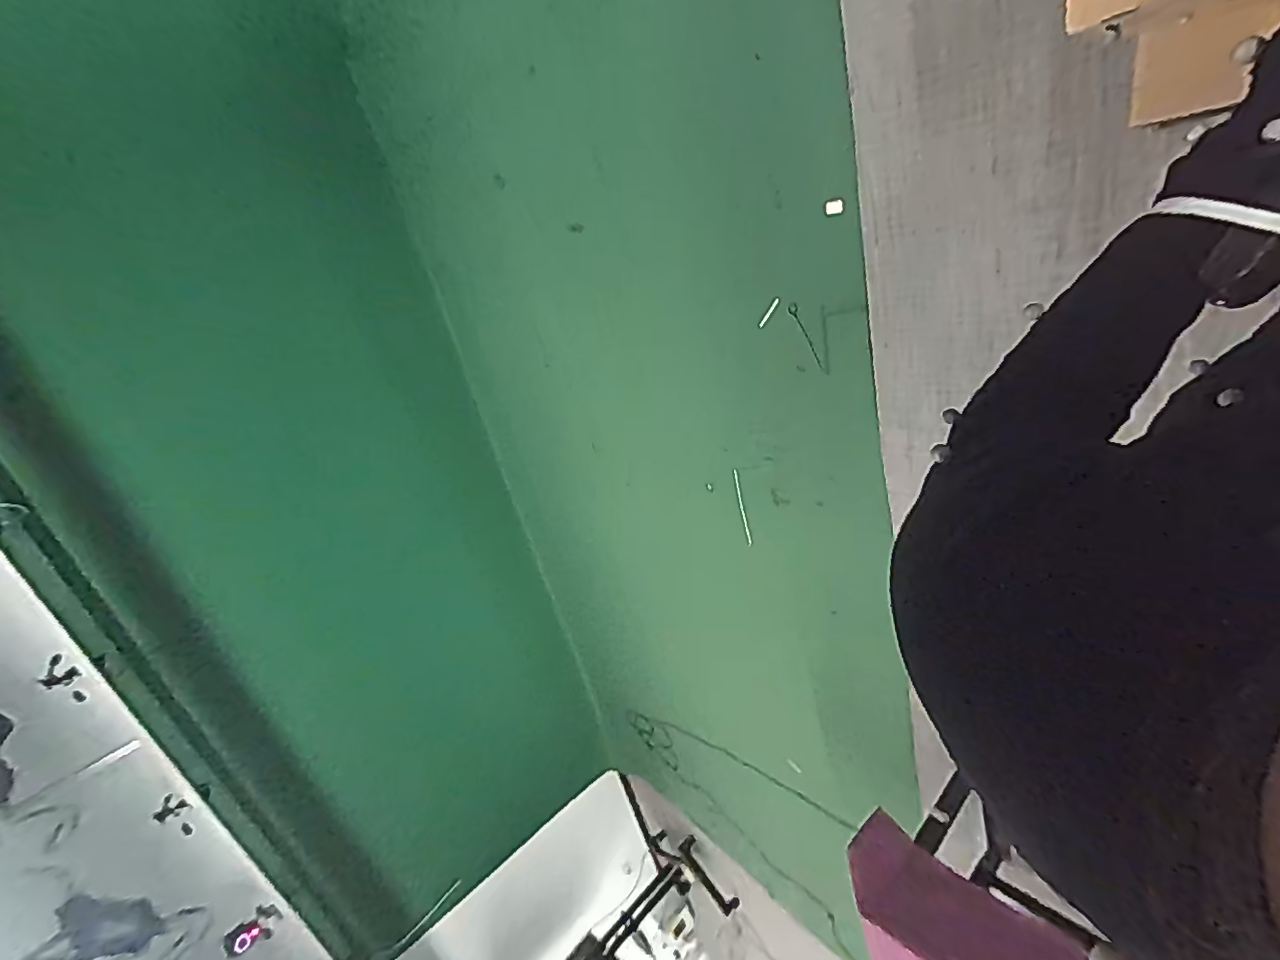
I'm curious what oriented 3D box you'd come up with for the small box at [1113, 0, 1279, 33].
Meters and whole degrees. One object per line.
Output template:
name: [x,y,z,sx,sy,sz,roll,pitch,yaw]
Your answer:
small box: [0.673,-0.636,0.602,0.168,0.176,0.179,21,129,48]
